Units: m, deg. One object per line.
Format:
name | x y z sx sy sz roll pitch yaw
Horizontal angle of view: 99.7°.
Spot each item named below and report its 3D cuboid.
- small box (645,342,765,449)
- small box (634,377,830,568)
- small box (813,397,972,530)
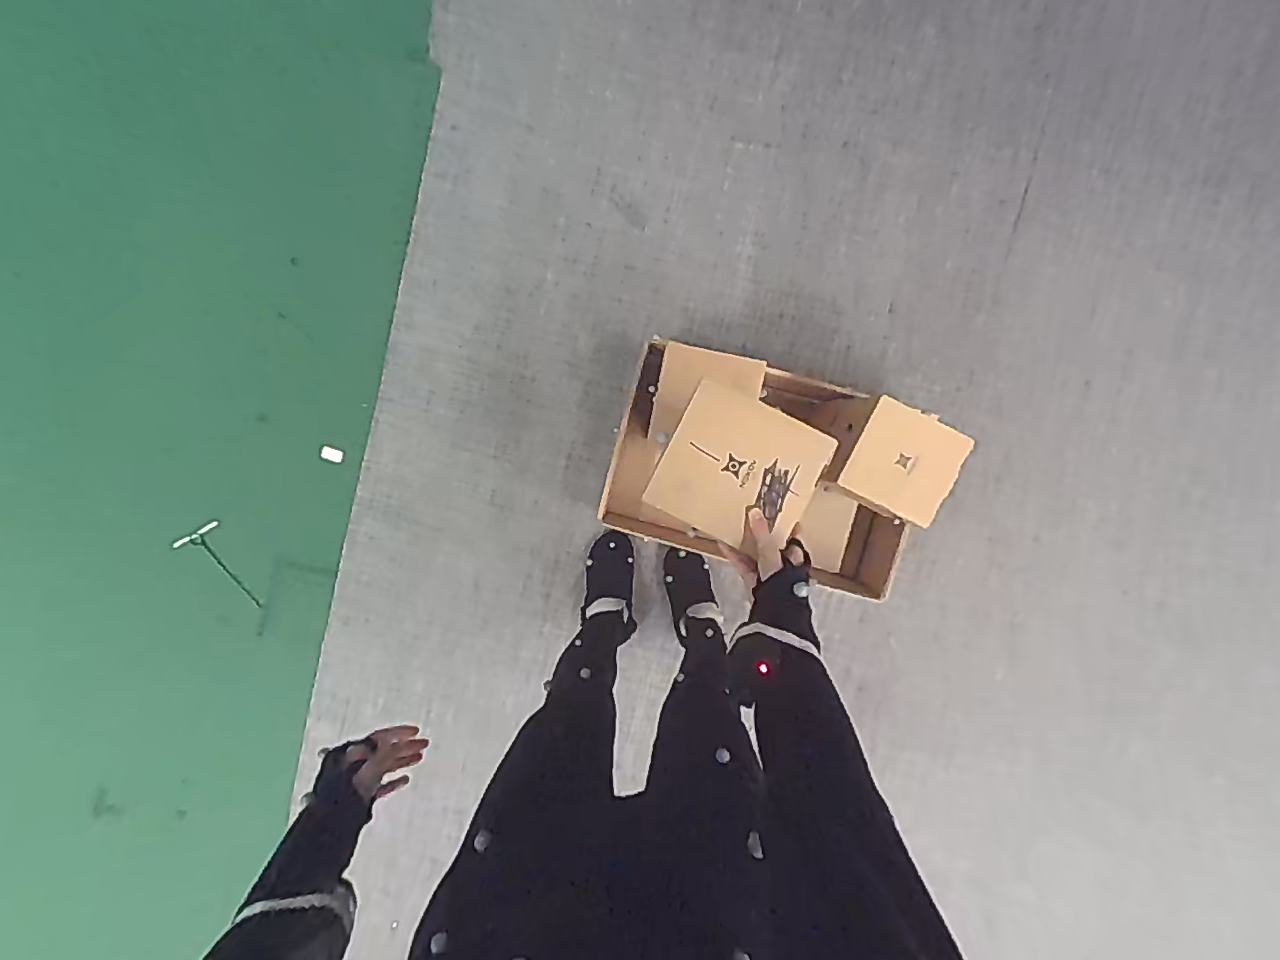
small box | 0.106 -0.127 0.955 0.168 0.176 0.179 13 95 1
small box | 0.107 -0.009 0.699 0.179 0.176 0.168 28 89 1
small box | 0.429 -0.030 0.963 0.179 0.176 0.168 27 95 -1
